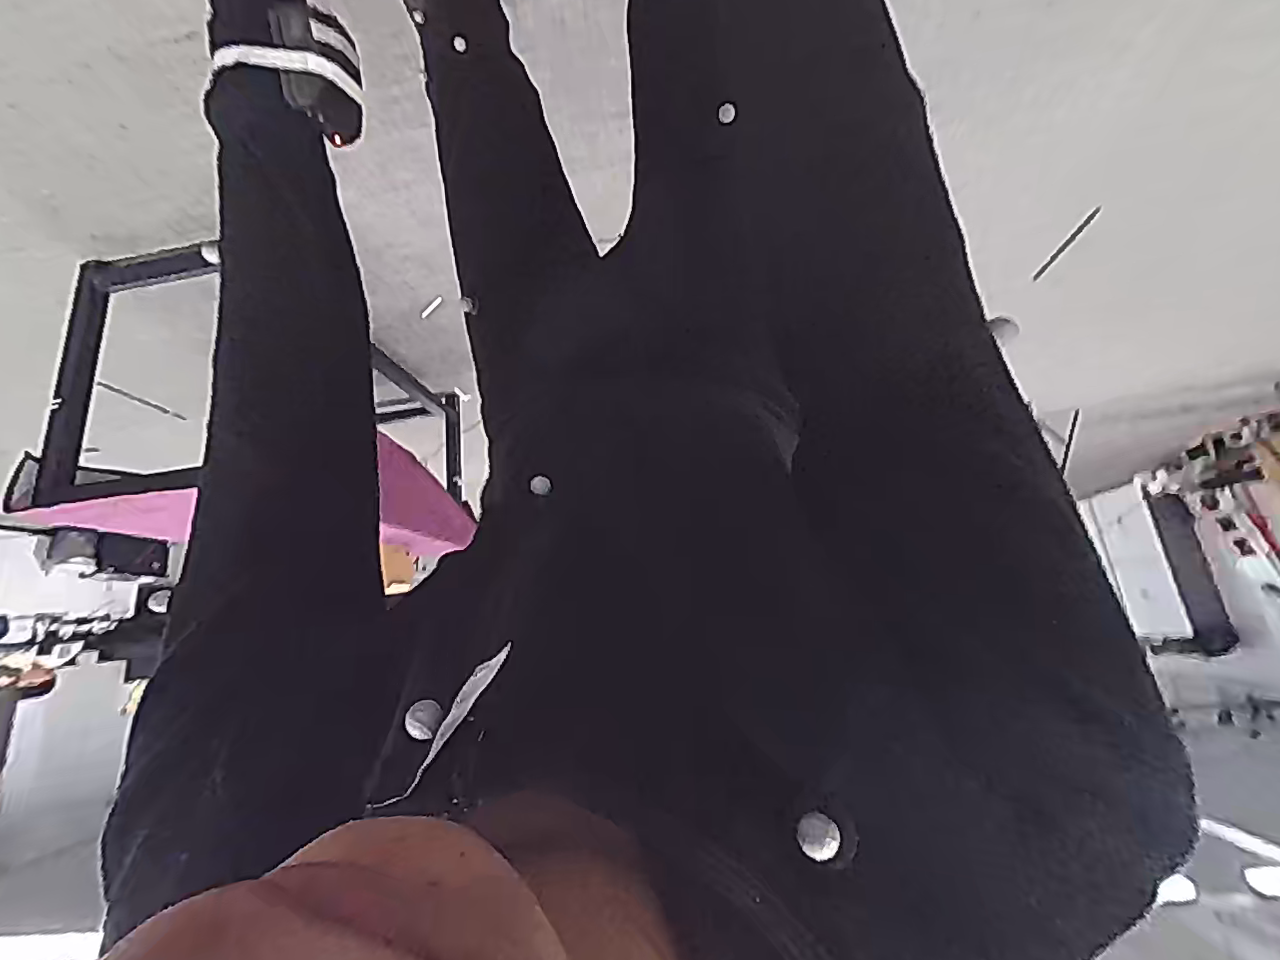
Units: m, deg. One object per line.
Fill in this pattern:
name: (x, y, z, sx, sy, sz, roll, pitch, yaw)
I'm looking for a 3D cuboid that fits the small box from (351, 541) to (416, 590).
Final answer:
small box: (-1.021, 0.341, 2.151, 0.179, 0.176, 0.168, -10, 164, 17)
